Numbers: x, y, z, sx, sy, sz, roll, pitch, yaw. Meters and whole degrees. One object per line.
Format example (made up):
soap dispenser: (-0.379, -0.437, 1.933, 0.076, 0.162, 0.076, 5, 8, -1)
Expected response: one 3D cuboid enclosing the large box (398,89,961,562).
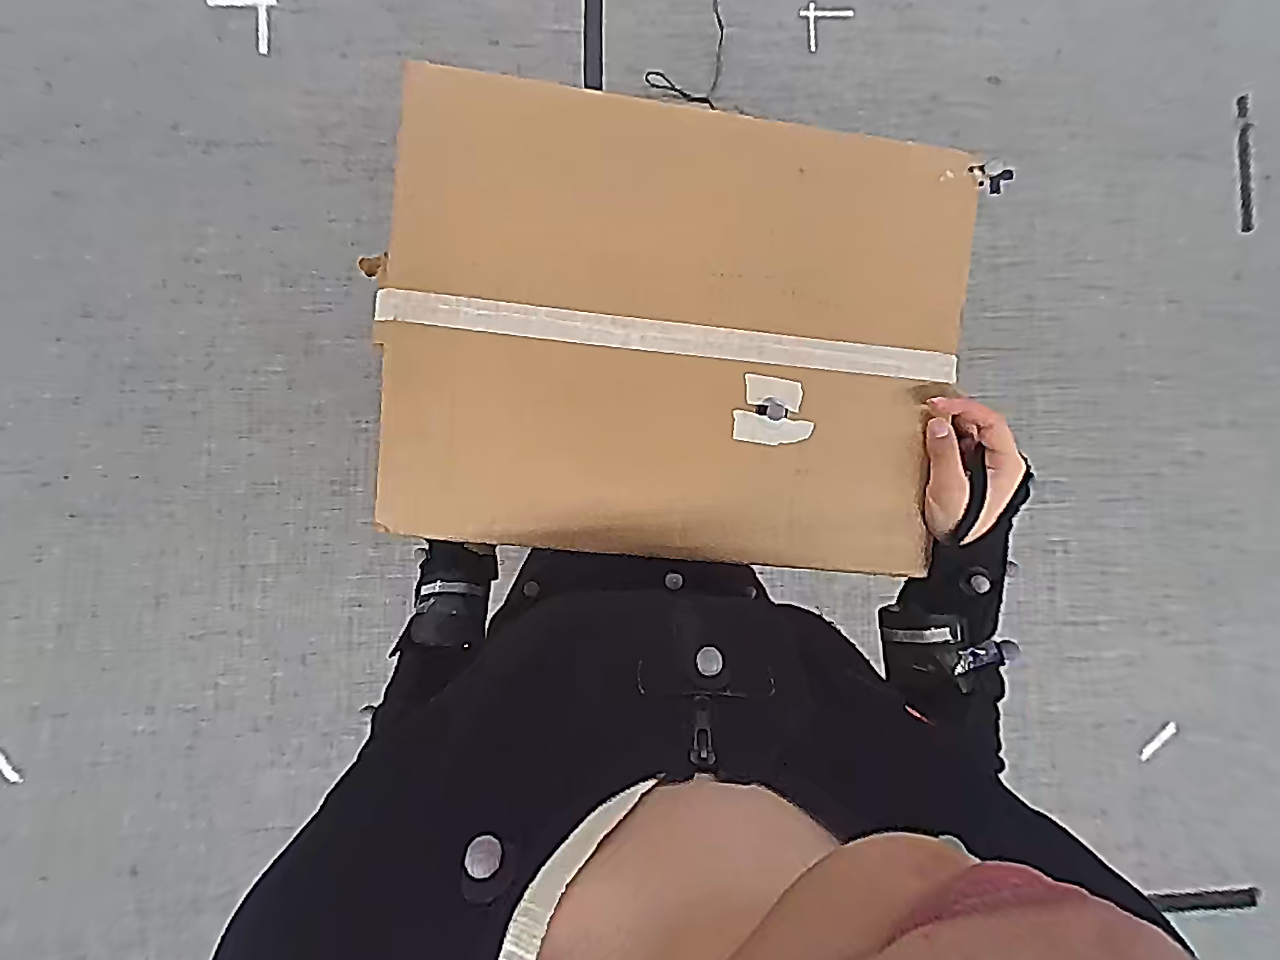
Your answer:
large box: (0.018, -0.109, 0.539, 0.408, 0.320, 0.320, 5, 94, -7)
